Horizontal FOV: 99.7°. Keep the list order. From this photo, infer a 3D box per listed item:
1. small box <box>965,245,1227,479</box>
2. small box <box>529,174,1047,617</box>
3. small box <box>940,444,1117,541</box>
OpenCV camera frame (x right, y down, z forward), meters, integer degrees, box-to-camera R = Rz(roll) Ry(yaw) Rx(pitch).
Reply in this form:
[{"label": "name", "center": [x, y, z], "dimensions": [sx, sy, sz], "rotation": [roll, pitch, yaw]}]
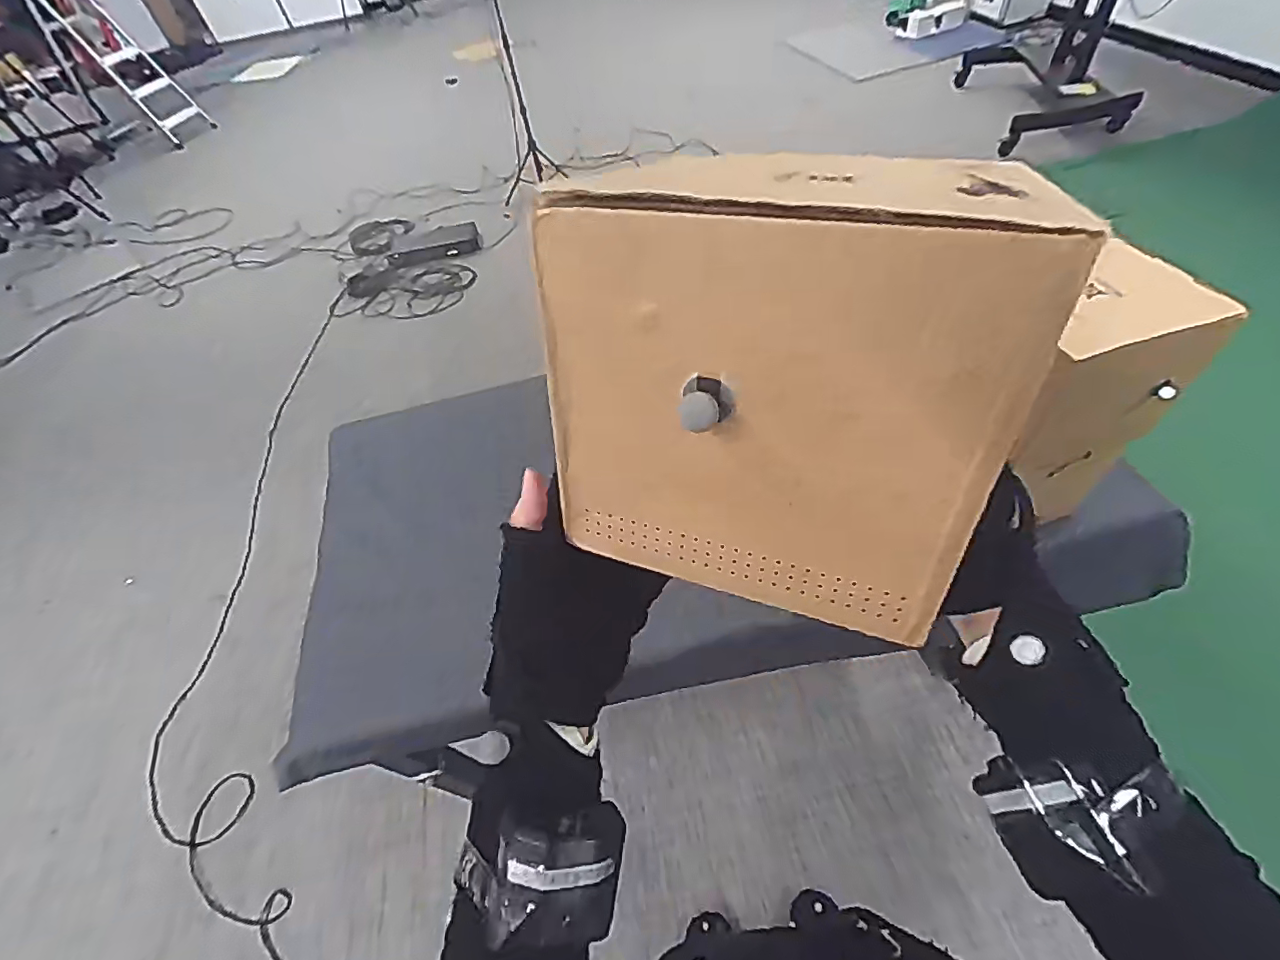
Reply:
[{"label": "small box", "center": [0.457, -0.129, 0.609], "dimensions": [0.179, 0.176, 0.168], "rotation": [-17, 50, -3]}, {"label": "small box", "center": [0.069, -0.056, 0.284], "dimensions": [0.179, 0.176, 0.168], "rotation": [12, 38, 19]}, {"label": "small box", "center": [0.476, -0.036, 0.741], "dimensions": [0.168, 0.176, 0.179], "rotation": [-18, 50, -5]}]
